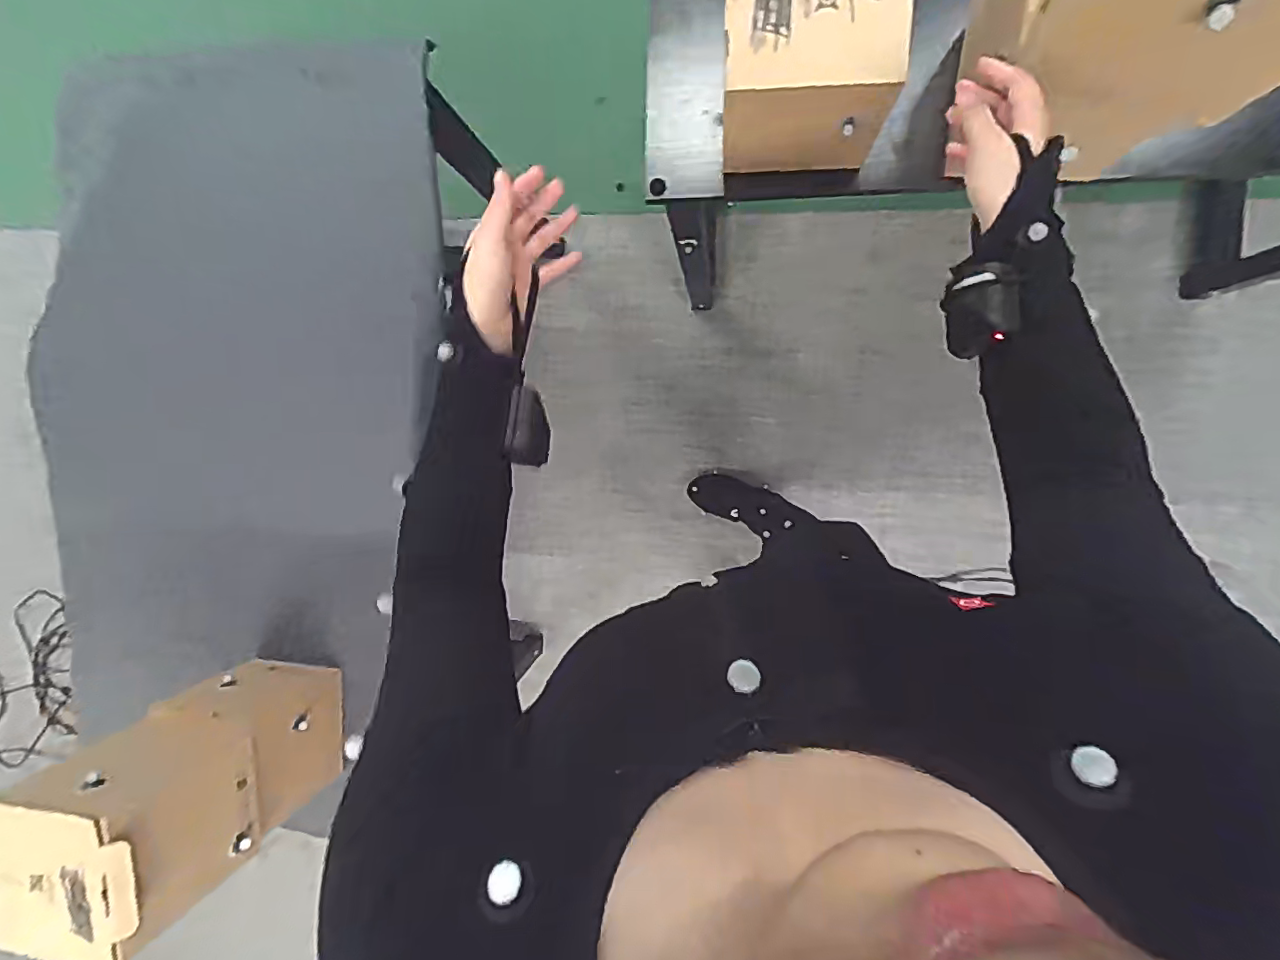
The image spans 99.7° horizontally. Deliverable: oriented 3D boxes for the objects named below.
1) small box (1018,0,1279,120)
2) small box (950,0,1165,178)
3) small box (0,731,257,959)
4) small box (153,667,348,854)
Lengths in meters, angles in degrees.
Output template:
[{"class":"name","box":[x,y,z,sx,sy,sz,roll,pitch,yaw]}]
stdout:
[{"class":"small box","box":[0.432,-0.402,0.397,0.179,0.176,0.168,15,97,8]},{"class":"small box","box":[0.446,-0.437,0.557,0.168,0.176,0.179,6,96,8]},{"class":"small box","box":[-0.585,0.416,0.631,0.179,0.176,0.168,-2,93,12]},{"class":"small box","box":[-0.556,0.394,0.792,0.168,0.176,0.179,2,95,11]}]
